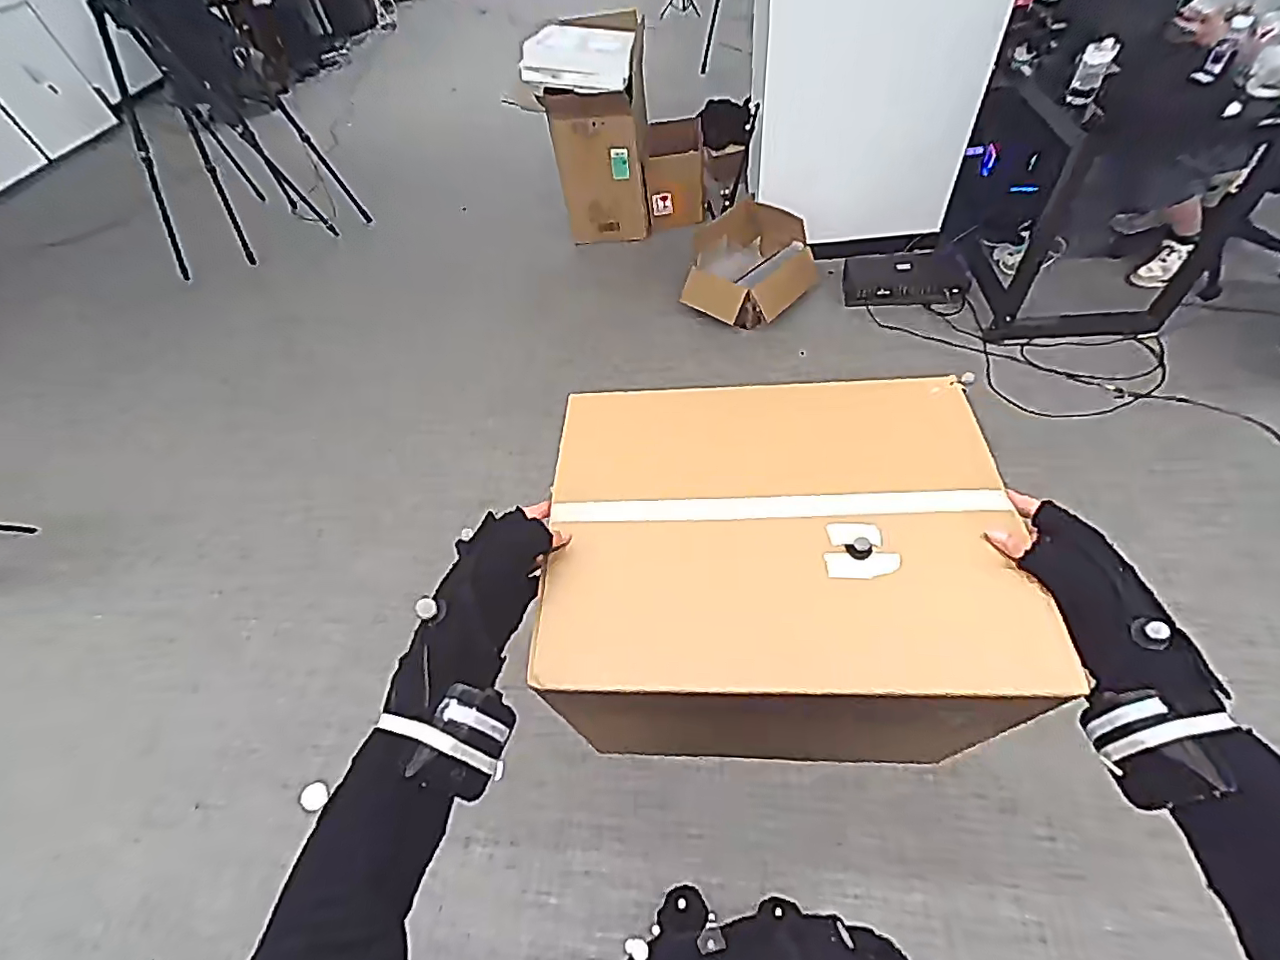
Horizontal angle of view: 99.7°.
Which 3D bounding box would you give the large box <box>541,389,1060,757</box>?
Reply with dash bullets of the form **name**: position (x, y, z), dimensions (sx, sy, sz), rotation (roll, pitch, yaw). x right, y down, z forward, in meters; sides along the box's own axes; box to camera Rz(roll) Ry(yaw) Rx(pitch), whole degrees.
- **large box**: position (0.132, 0.122, 0.621), dimensions (0.408, 0.320, 0.320), rotation (-2, 55, 6)
